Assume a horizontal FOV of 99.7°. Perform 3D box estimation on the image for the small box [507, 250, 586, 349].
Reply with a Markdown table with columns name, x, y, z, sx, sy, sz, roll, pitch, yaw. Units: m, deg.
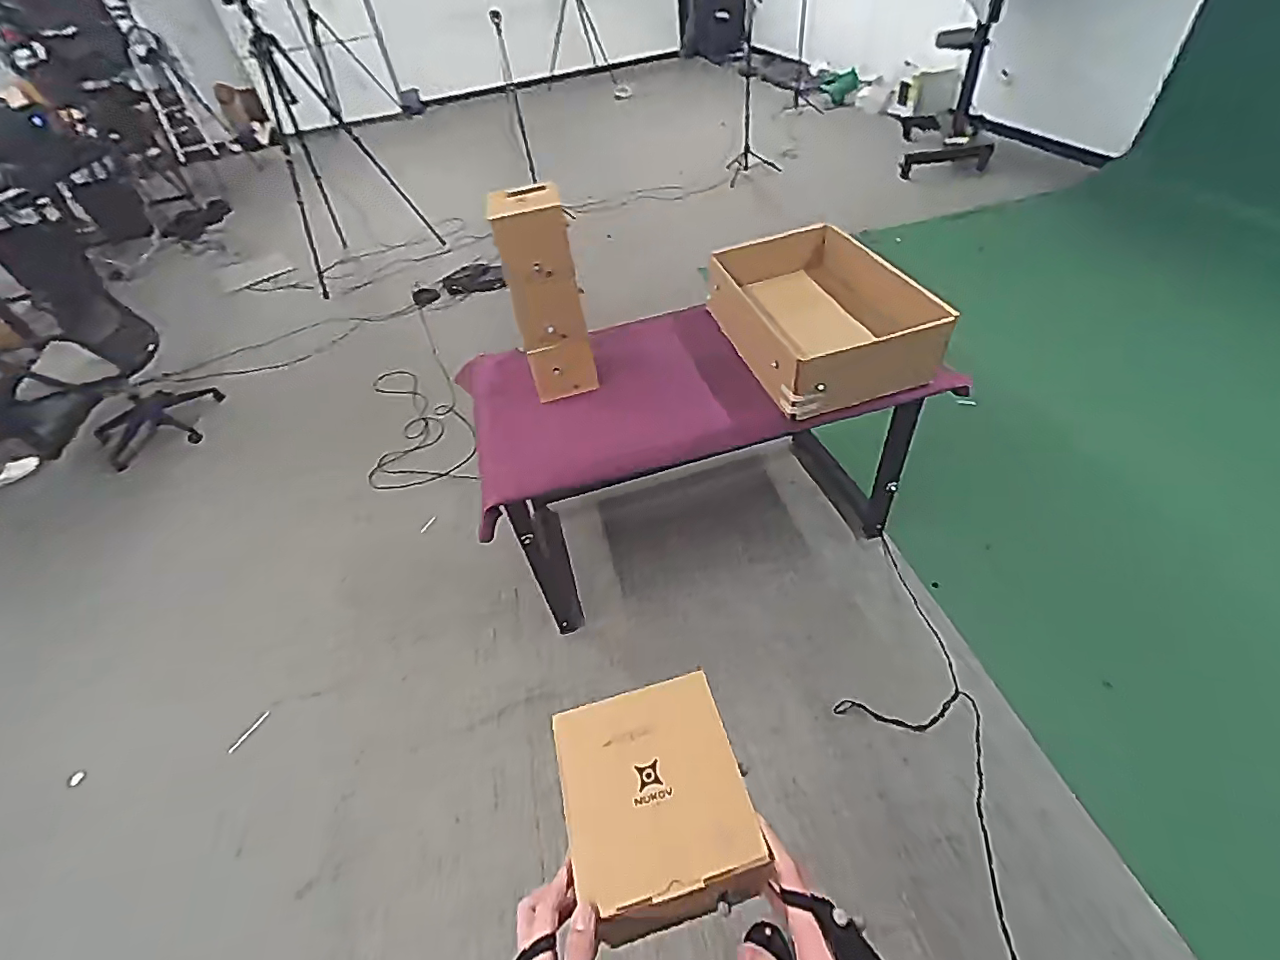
| name | x | y | z | sx | sy | sz | roll | pitch | yaw |
| --- | --- | --- | --- | --- | --- | --- | --- | --- | --- |
| small box | -0.241 | -0.465 | 1.397 | 0.168 | 0.176 | 0.179 | -13 | 46 | -3 |

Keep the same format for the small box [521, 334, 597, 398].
| name | x | y | z | sx | sy | sz | roll | pitch | yaw |
| --- | --- | --- | --- | --- | --- | --- | --- | --- | --- |
| small box | -0.228 | -0.348 | 1.512 | 0.168 | 0.176 | 0.179 | -17 | 45 | -6 |

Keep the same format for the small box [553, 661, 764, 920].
| name | x | y | z | sx | sy | sz | roll | pitch | yaw |
| --- | --- | --- | --- | --- | --- | --- | --- | --- | --- |
| small box | 0.017 | 0.323 | 0.557 | 0.168 | 0.176 | 0.179 | -14 | 44 | -6 |
